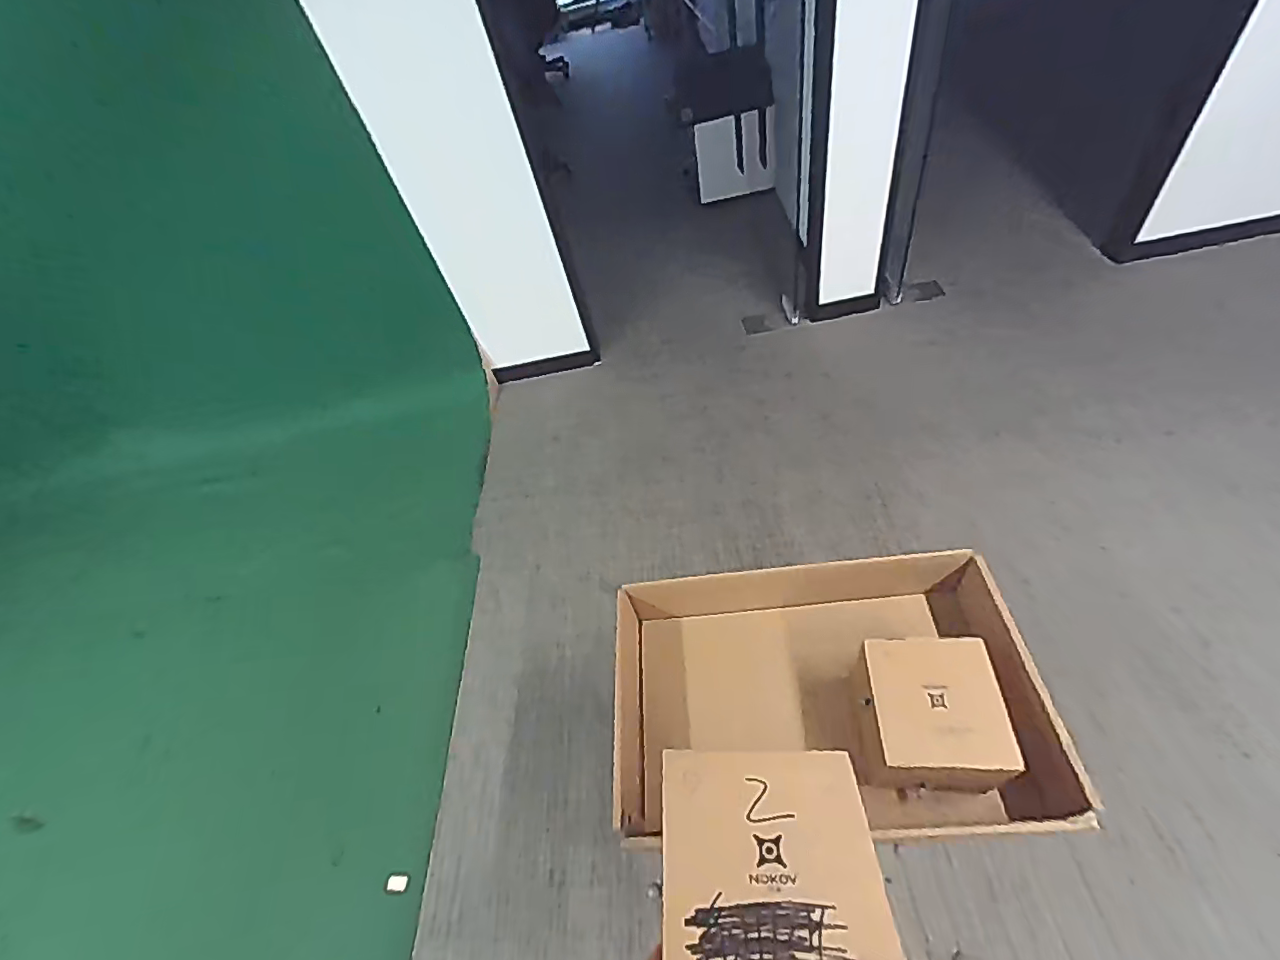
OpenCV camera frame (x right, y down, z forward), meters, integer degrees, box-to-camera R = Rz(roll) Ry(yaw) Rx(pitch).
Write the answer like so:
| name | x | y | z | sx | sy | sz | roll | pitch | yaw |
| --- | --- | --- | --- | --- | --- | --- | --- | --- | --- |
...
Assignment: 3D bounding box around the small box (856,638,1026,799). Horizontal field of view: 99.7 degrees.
| name | x | y | z | sx | sy | sz | roll | pitch | yaw |
| --- | --- | --- | --- | --- | --- | --- | --- | --- | --- |
| small box | 0.424 | 0.351 | 0.799 | 0.168 | 0.176 | 0.179 | -4 | 50 | 13 |
